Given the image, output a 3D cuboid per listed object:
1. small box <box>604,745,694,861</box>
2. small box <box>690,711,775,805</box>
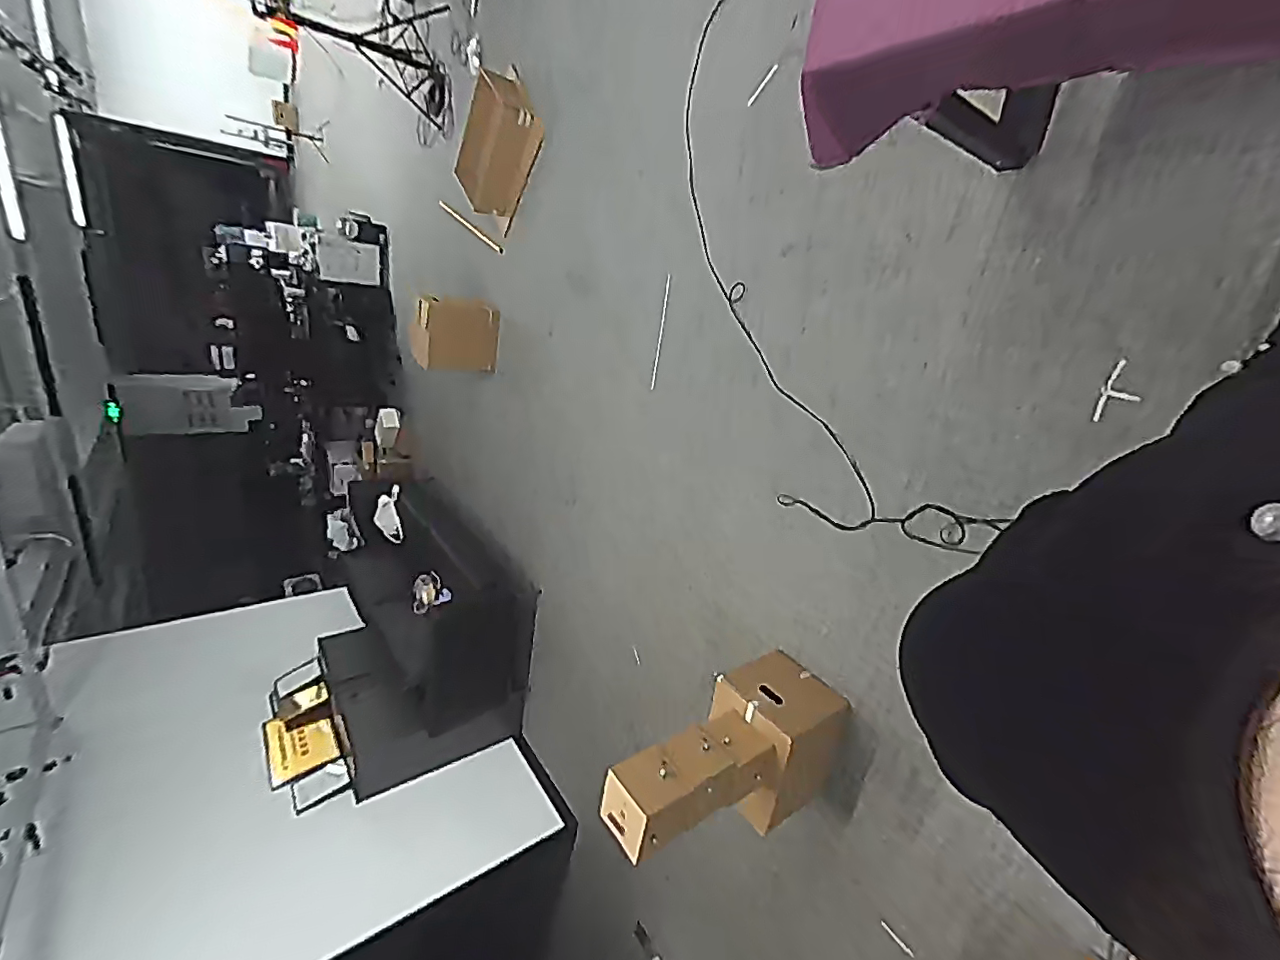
[{"bbox_3d":[0.026,0.866,1.464,0.168,0.176,0.179,31,118,44],"label":"small box"},{"bbox_3d":[0.285,0.843,1.667,0.179,0.176,0.168,27,117,45],"label":"small box"}]
